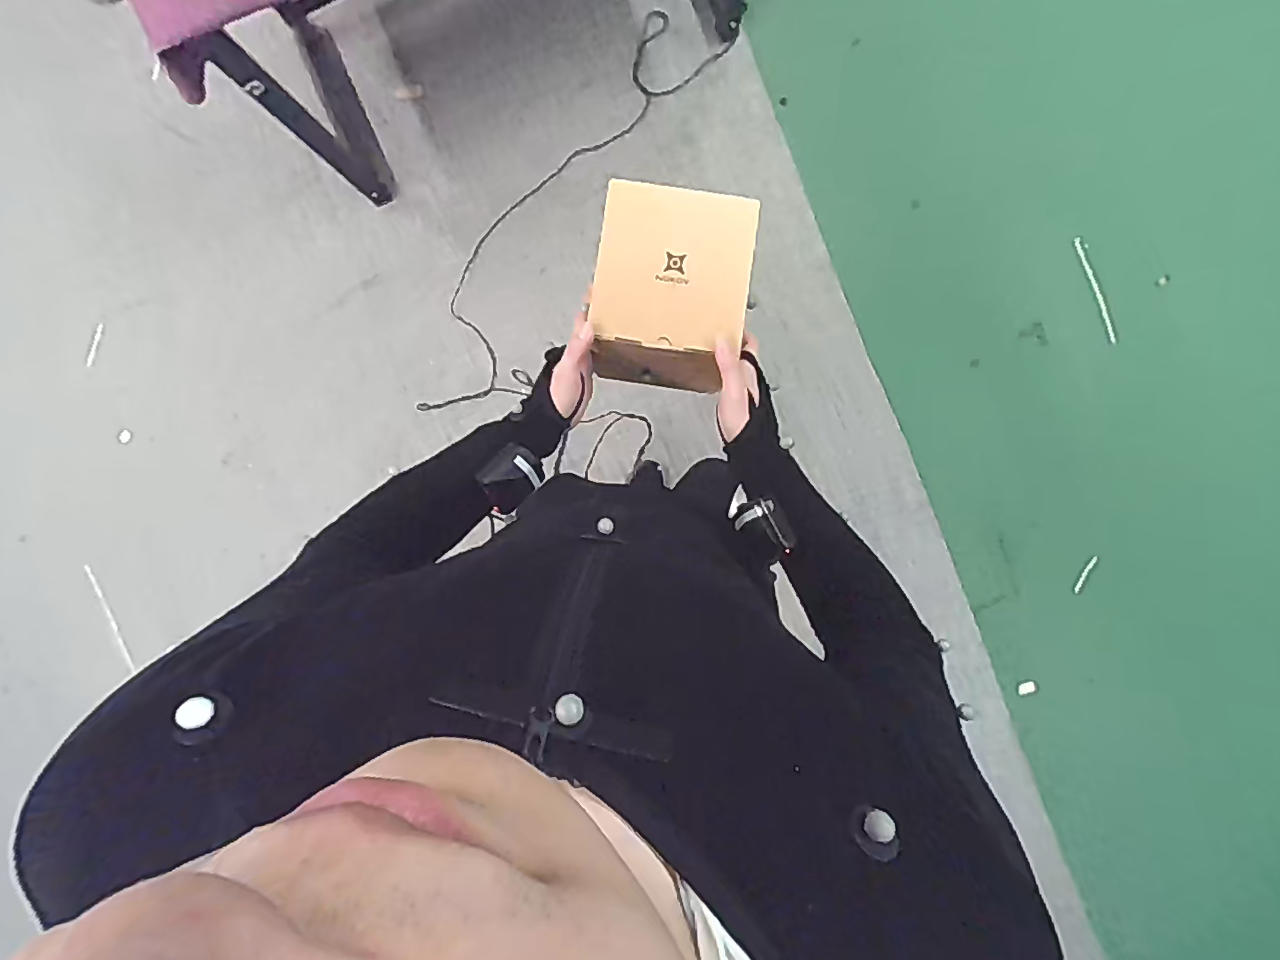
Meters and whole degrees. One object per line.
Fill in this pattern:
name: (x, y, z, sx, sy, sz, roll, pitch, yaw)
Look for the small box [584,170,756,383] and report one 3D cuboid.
small box: (0.030, -0.229, 0.648, 0.168, 0.176, 0.179, 8, 88, 0)
